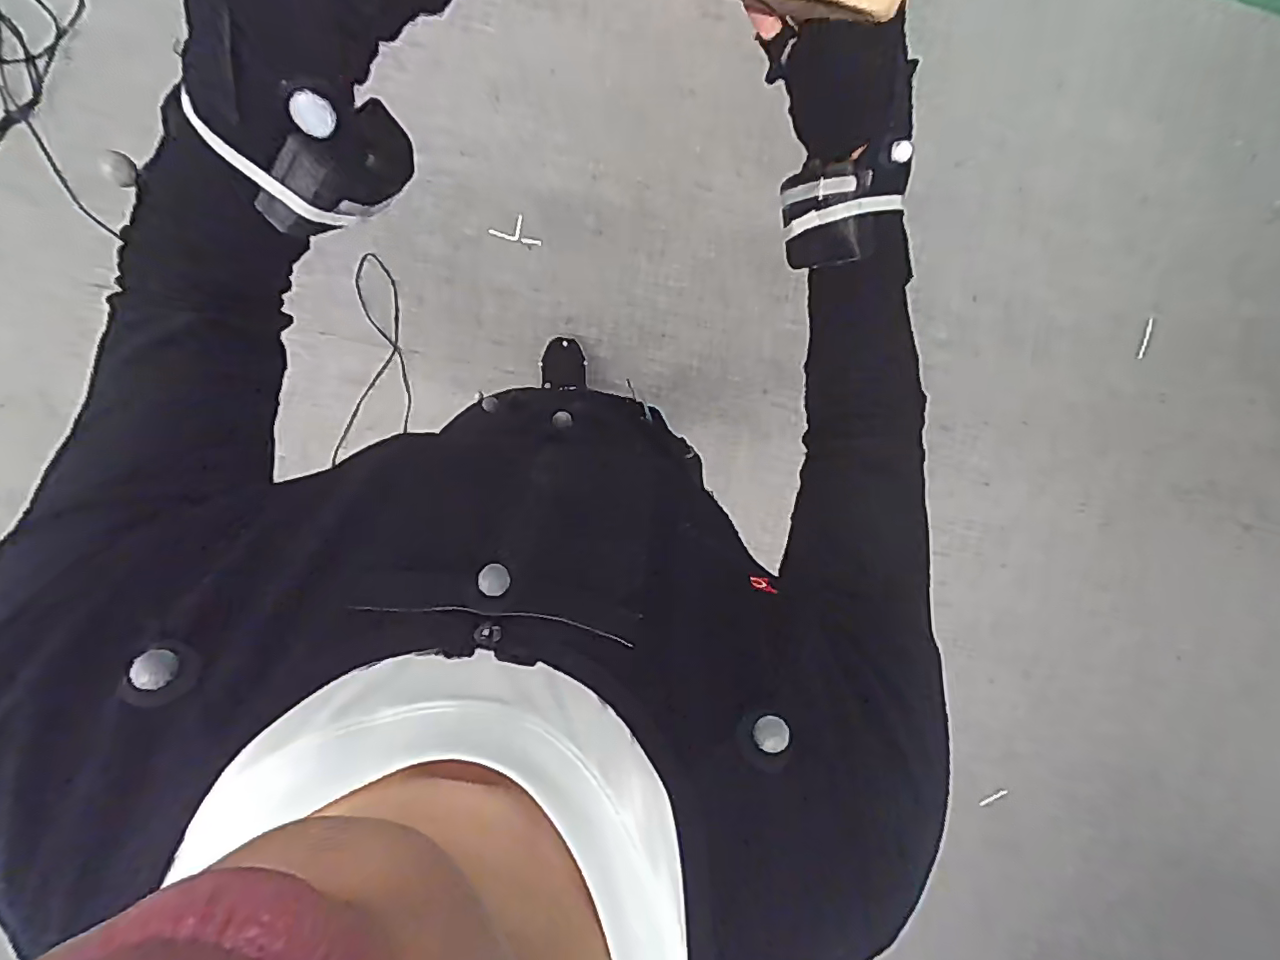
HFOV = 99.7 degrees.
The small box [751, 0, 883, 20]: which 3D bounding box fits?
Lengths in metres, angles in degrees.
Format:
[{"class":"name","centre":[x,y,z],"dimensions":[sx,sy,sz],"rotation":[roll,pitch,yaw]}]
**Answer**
[{"class":"small box","centre":[0.039,-0.323,0.225],"dimensions":[0.168,0.179,0.176],"rotation":[7,131,-13]}]
